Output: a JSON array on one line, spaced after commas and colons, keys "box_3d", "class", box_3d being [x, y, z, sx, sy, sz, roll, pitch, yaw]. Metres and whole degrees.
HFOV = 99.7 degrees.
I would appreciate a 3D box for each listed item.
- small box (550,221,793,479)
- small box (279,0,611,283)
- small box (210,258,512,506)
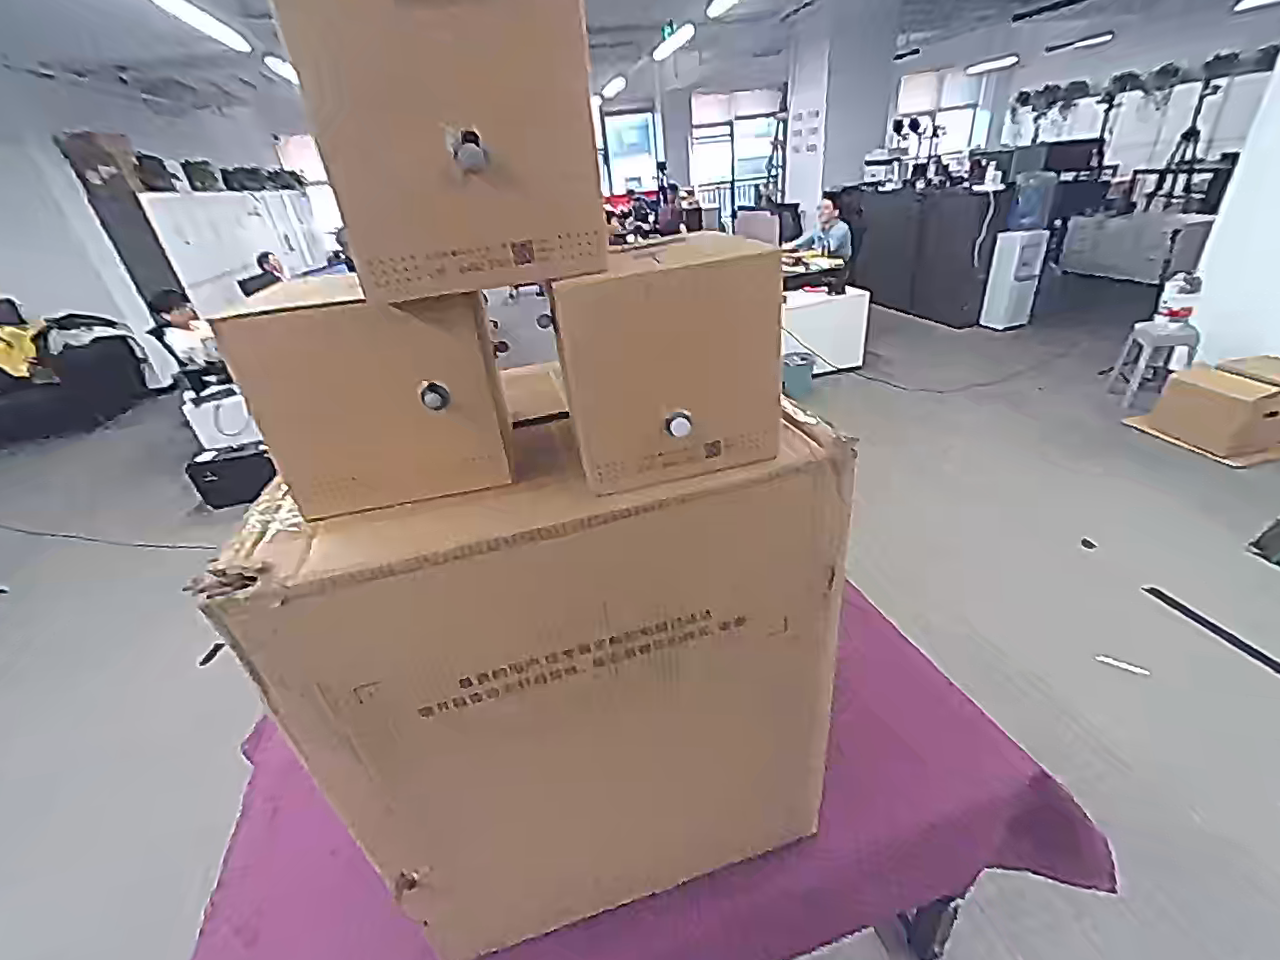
[{"box_3d": [0.017, -0.121, 0.474, 0.168, 0.176, 0.179, -13, 31, -8], "class": "small box"}, {"box_3d": [-0.127, -0.246, 0.391, 0.168, 0.176, 0.179, -14, 31, -15], "class": "small box"}, {"box_3d": [-0.212, -0.098, 0.477, 0.179, 0.176, 0.168, -11, 30, -9], "class": "small box"}]
